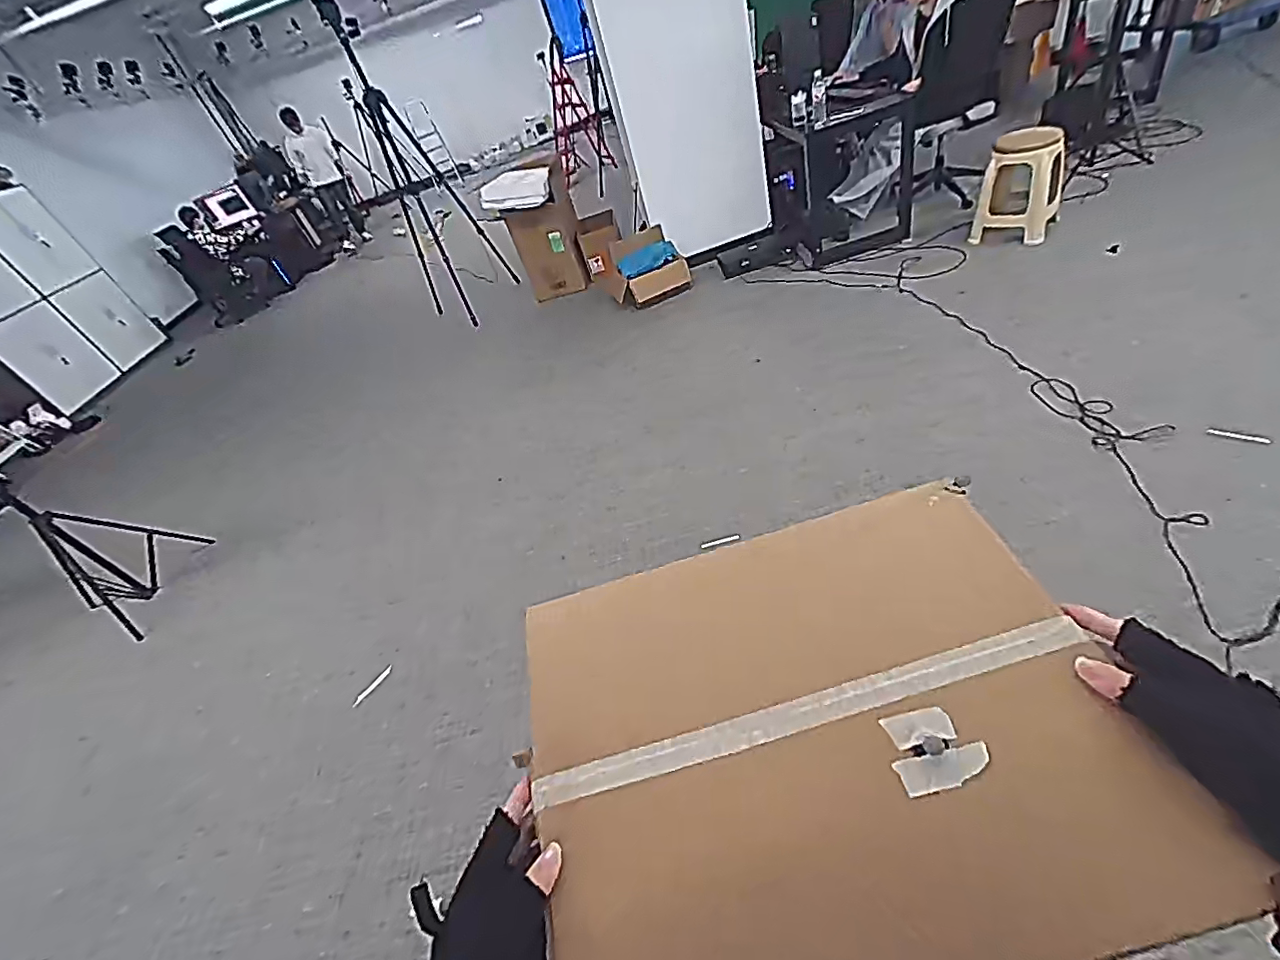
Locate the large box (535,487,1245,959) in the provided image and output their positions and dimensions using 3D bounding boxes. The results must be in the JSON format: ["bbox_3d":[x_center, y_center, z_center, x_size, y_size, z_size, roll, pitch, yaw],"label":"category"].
[{"bbox_3d":[0.152,0.269,0.512,0.408,0.320,0.320,-17,47,0],"label":"large box"}]
